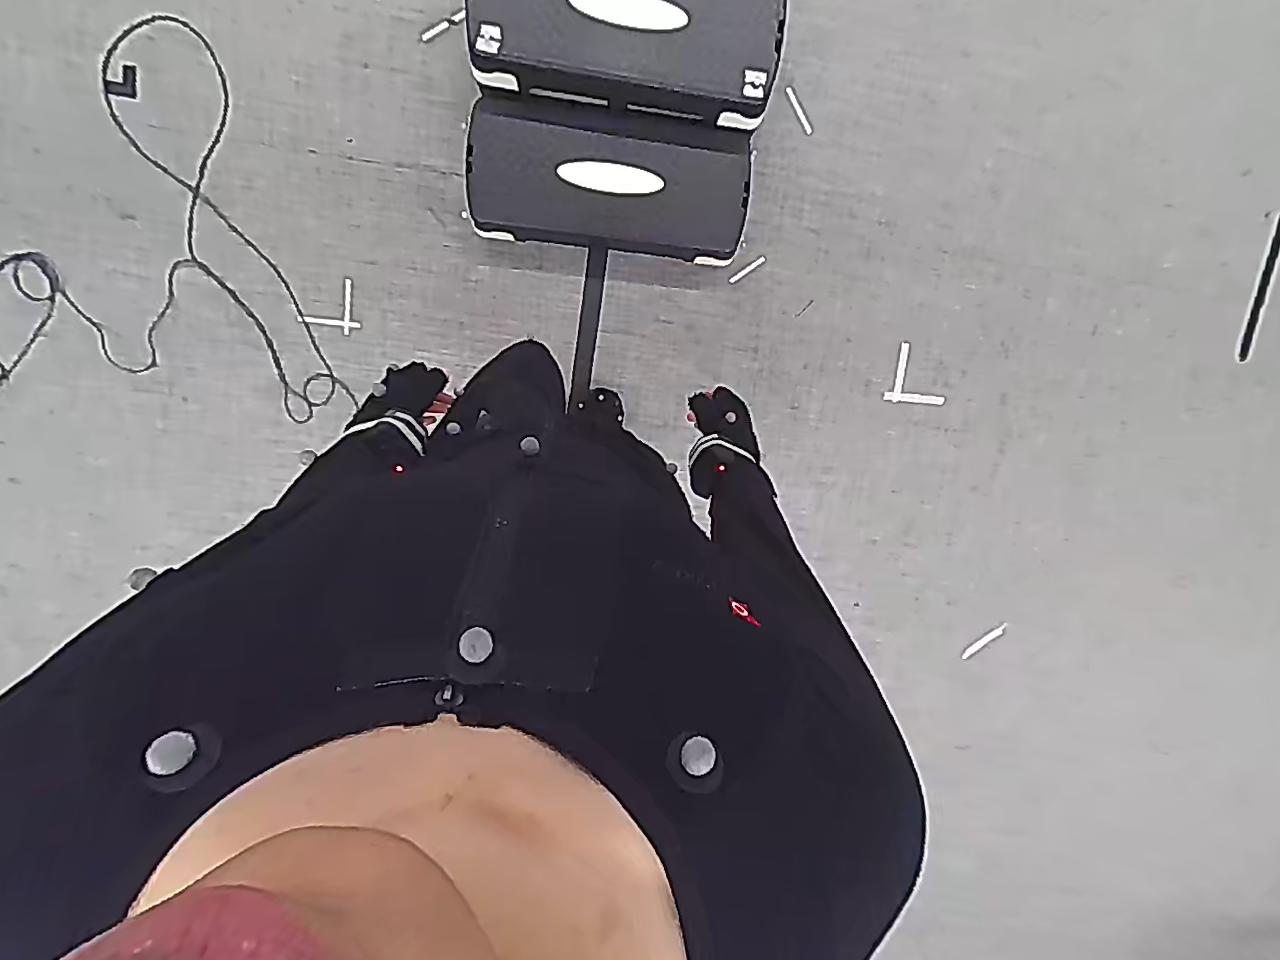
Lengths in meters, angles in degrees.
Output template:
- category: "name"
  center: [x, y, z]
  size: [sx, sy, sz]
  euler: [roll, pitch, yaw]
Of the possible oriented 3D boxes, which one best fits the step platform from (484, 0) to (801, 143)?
- category: "step platform"
  center: [0.005, -0.989, 1.212]
  size: [0.684, 0.204, 0.286]
  euler: [5, 100, -6]
